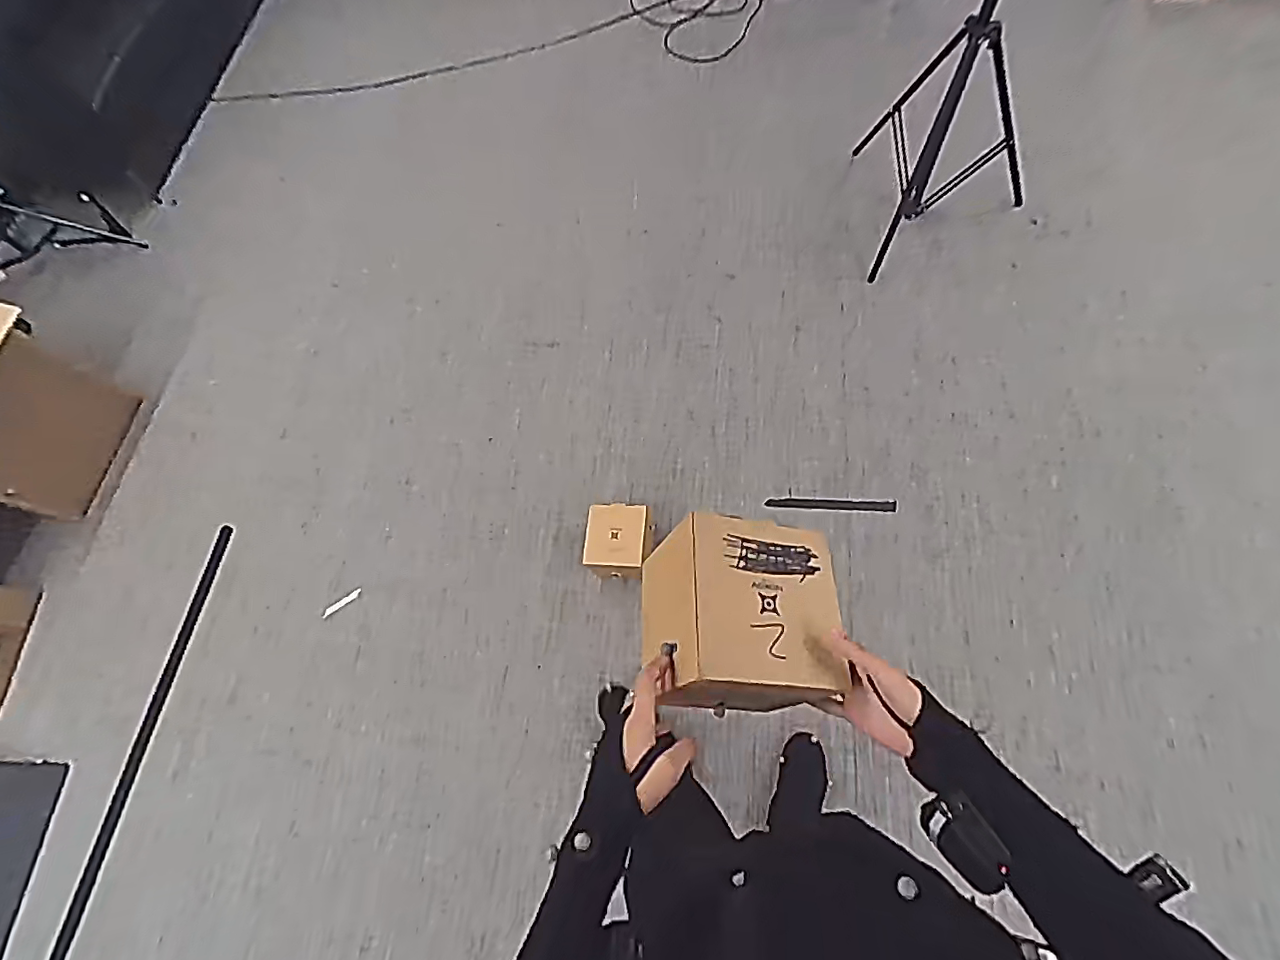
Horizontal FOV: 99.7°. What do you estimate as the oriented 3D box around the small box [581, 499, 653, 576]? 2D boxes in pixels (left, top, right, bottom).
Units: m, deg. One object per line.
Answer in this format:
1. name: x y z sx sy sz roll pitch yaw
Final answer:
1. small box: -0.059 0.168 1.555 0.168 0.176 0.179 2 68 11
